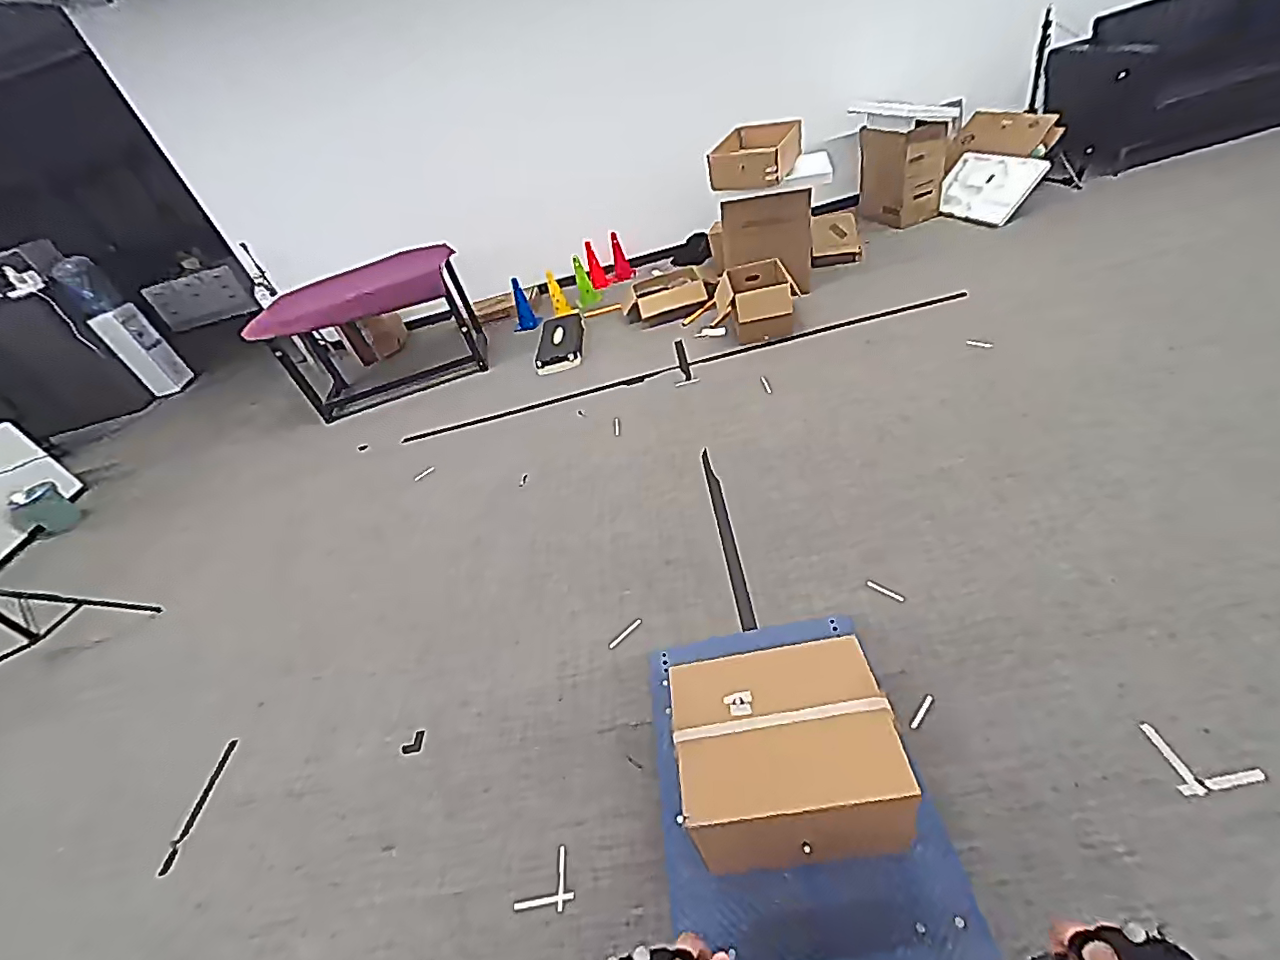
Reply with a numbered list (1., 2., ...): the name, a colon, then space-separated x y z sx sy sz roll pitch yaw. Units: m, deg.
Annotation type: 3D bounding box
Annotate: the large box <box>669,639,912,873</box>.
1. large box: 0.303 0.589 1.148 0.408 0.320 0.320 -13 38 7
